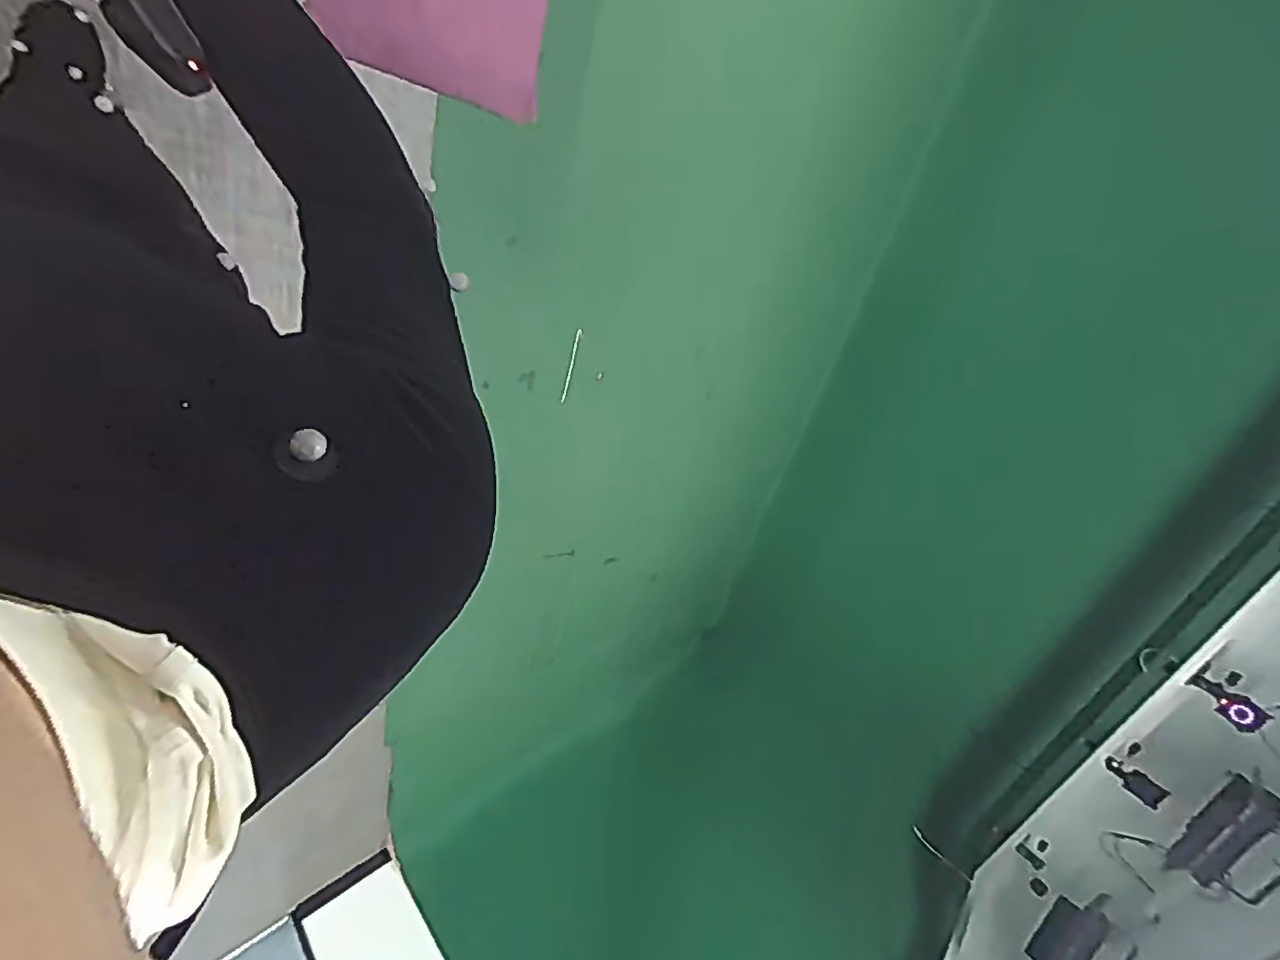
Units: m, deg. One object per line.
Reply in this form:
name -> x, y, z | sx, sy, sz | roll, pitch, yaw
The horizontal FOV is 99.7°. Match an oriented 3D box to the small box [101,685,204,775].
small box -> -1.468, 0.744, 1.624 | 0.179, 0.176, 0.168 | -55, 147, -1
